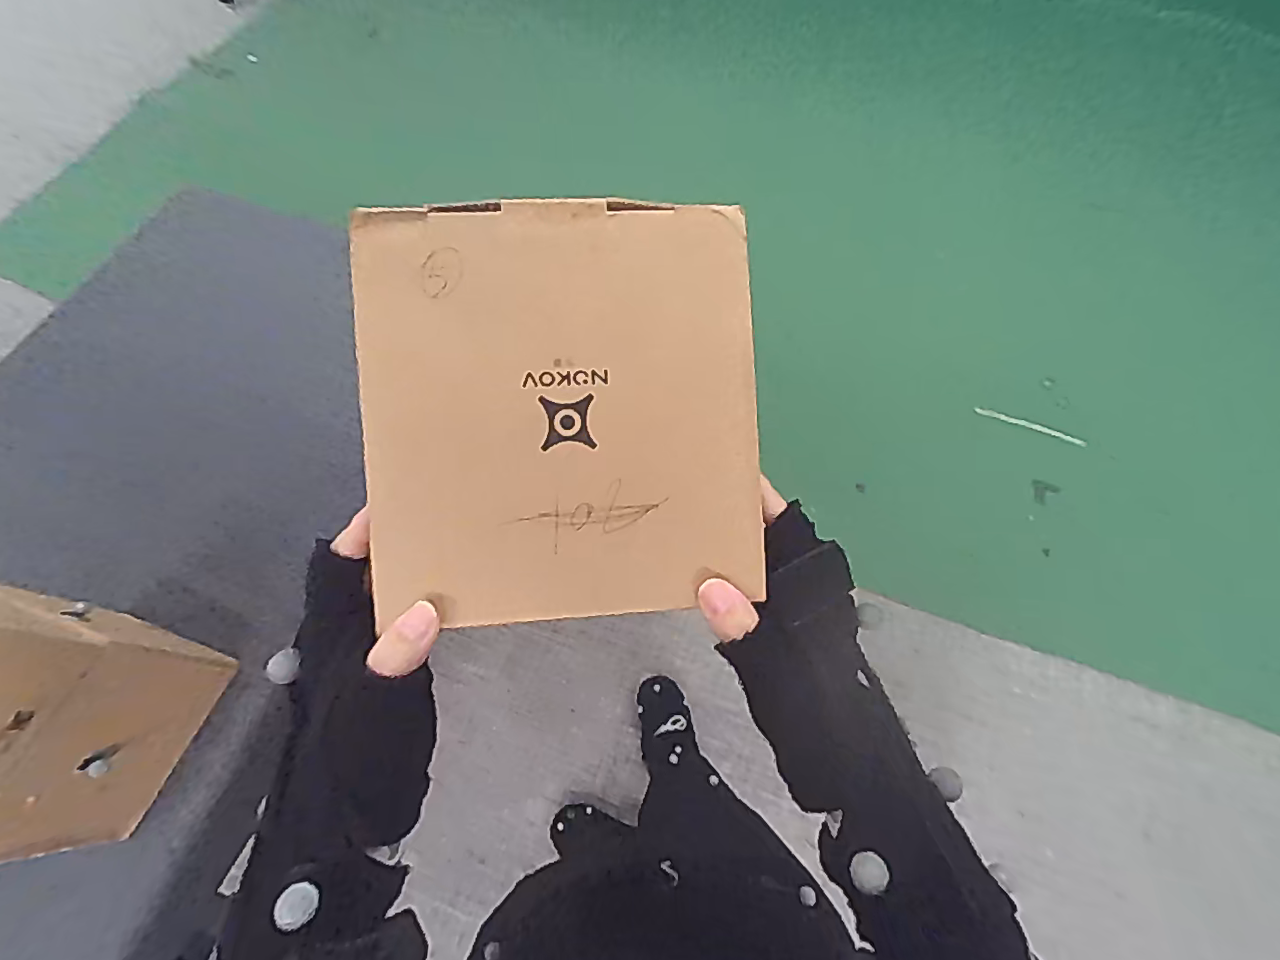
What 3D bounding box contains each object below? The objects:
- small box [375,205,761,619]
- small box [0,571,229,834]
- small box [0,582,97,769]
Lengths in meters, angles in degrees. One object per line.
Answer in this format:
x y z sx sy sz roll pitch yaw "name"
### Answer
-0.037 -0.030 0.313 0.168 0.176 0.179 -2 91 -5 "small box"
-0.546 0.205 0.503 0.168 0.176 0.179 19 67 8 "small box"
-0.548 0.133 0.354 0.179 0.176 0.168 19 66 8 "small box"
